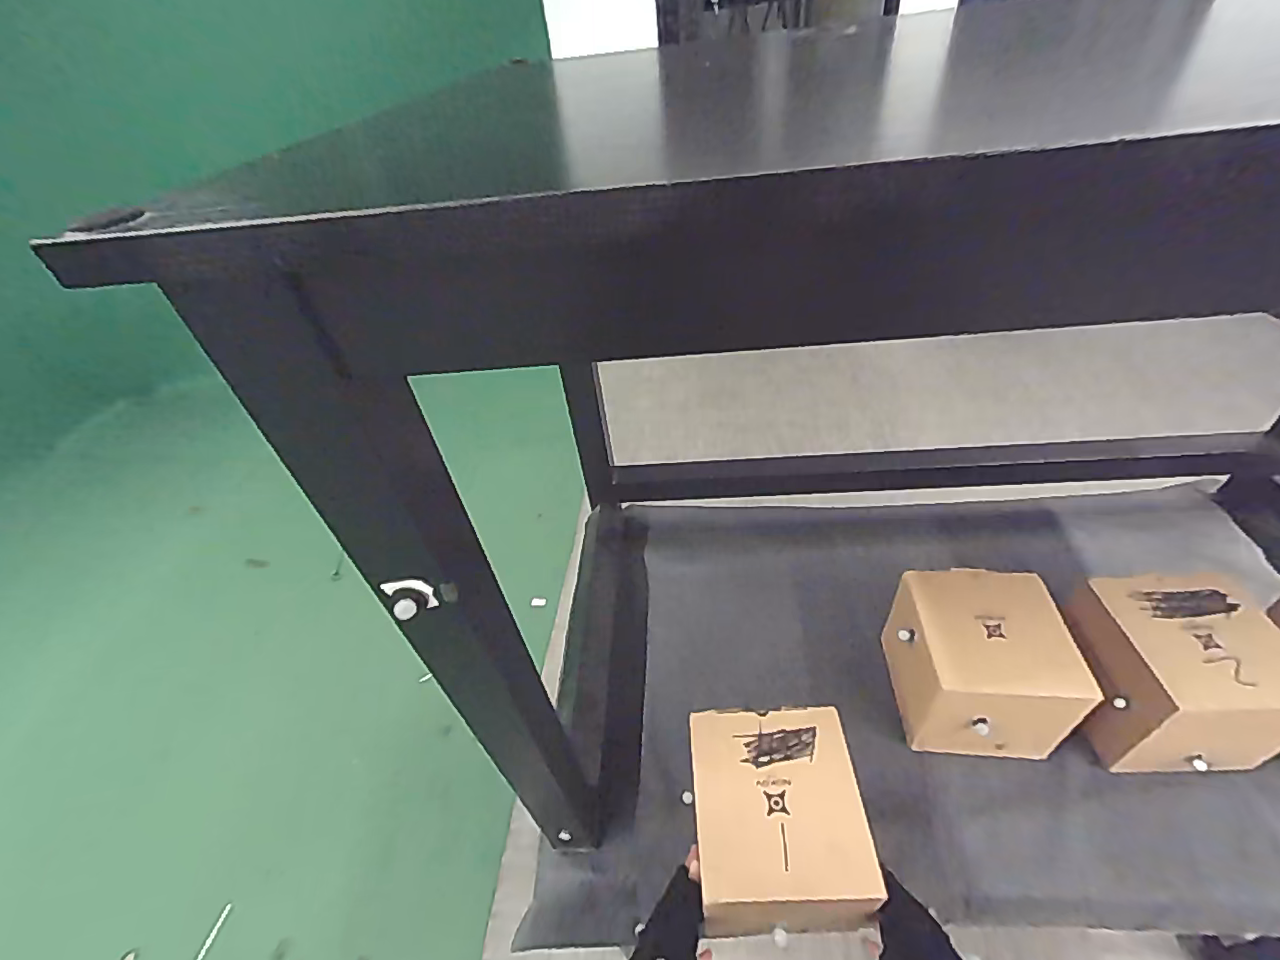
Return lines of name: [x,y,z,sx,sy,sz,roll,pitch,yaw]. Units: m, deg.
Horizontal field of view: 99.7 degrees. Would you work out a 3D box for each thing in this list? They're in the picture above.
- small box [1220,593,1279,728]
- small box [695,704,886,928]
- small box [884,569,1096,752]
small box: [0.881,0.236,0.641,0.168,0.176,0.179,-4,41,4]
small box: [0.147,0.374,0.604,0.168,0.176,0.179,-4,43,4]
small box: [0.439,0.238,0.716,0.168,0.176,0.179,0,42,9]
